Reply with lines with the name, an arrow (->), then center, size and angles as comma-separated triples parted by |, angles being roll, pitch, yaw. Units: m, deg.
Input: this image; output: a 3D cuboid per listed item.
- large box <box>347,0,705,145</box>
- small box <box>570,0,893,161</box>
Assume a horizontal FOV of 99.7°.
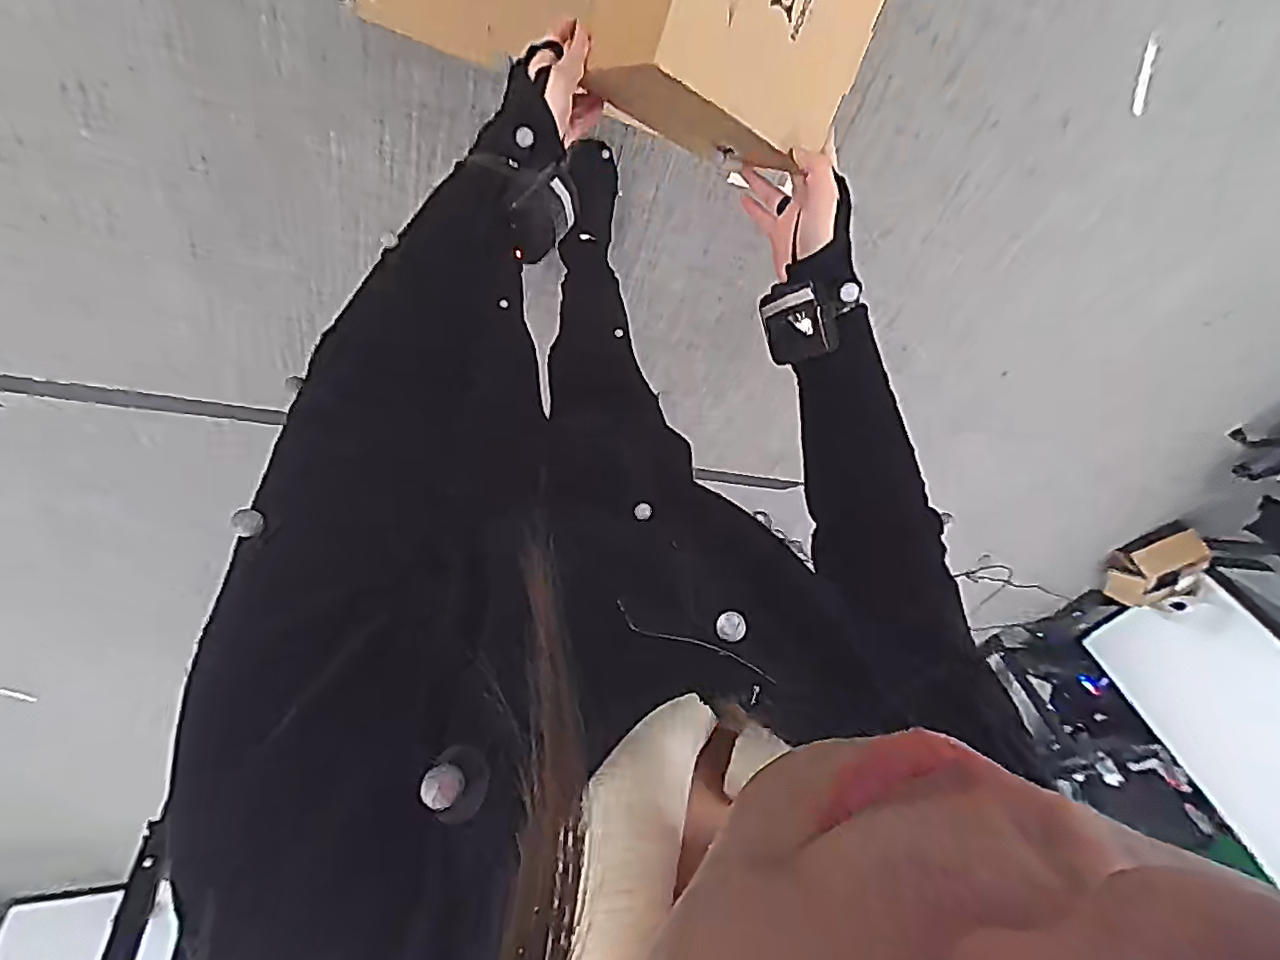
large box -> -0.072, -0.642, 0.596 | 0.408, 0.320, 0.320 | 8, 132, -21
small box -> 0.072, -0.383, 0.427 | 0.179, 0.176, 0.168 | 7, 115, -36
